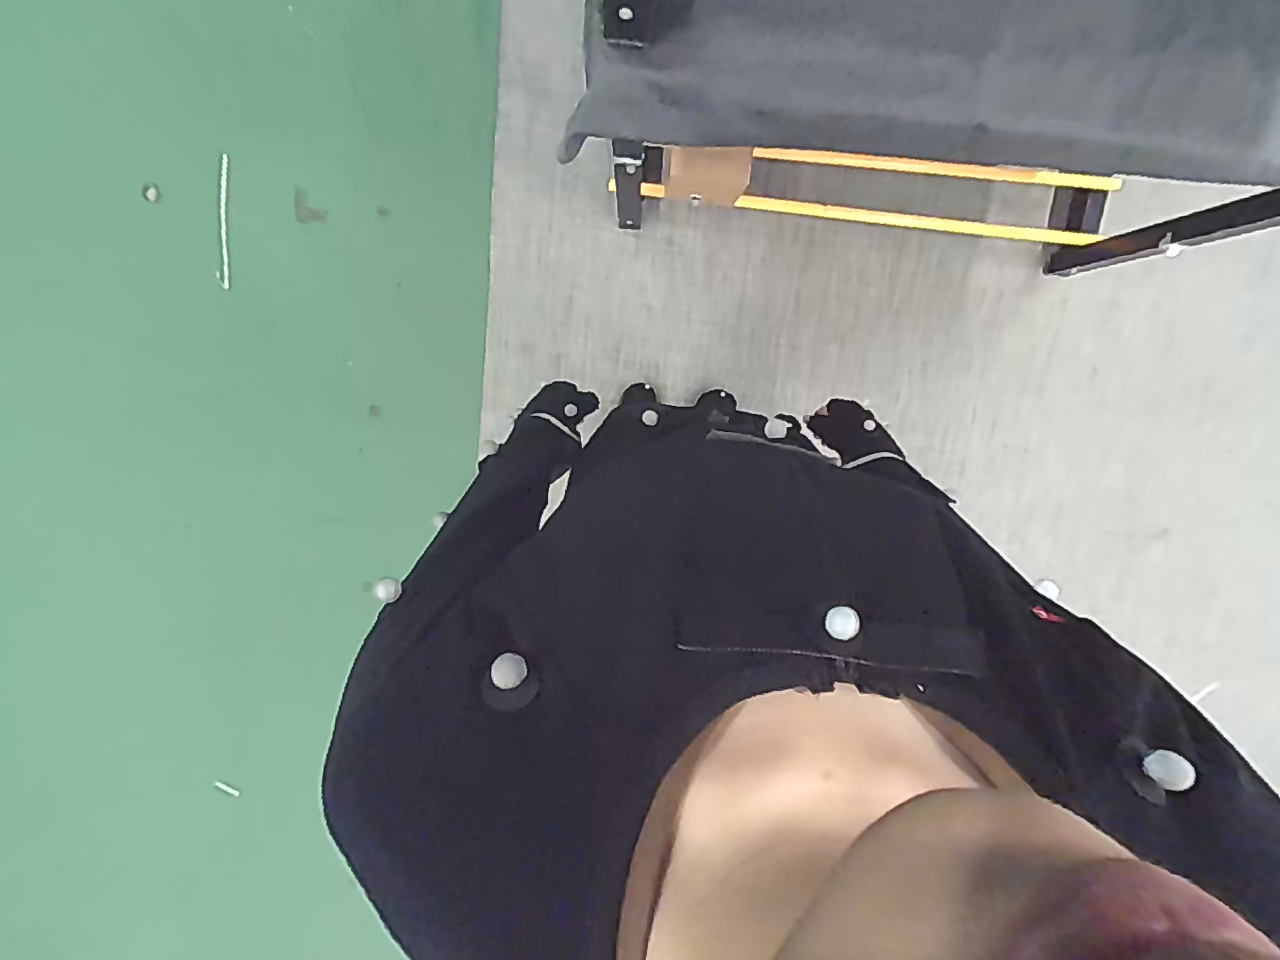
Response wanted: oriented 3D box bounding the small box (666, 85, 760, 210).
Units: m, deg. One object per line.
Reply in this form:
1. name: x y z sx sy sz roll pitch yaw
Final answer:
1. small box: 0.150 -0.708 1.169 0.168 0.176 0.179 4 102 -3
